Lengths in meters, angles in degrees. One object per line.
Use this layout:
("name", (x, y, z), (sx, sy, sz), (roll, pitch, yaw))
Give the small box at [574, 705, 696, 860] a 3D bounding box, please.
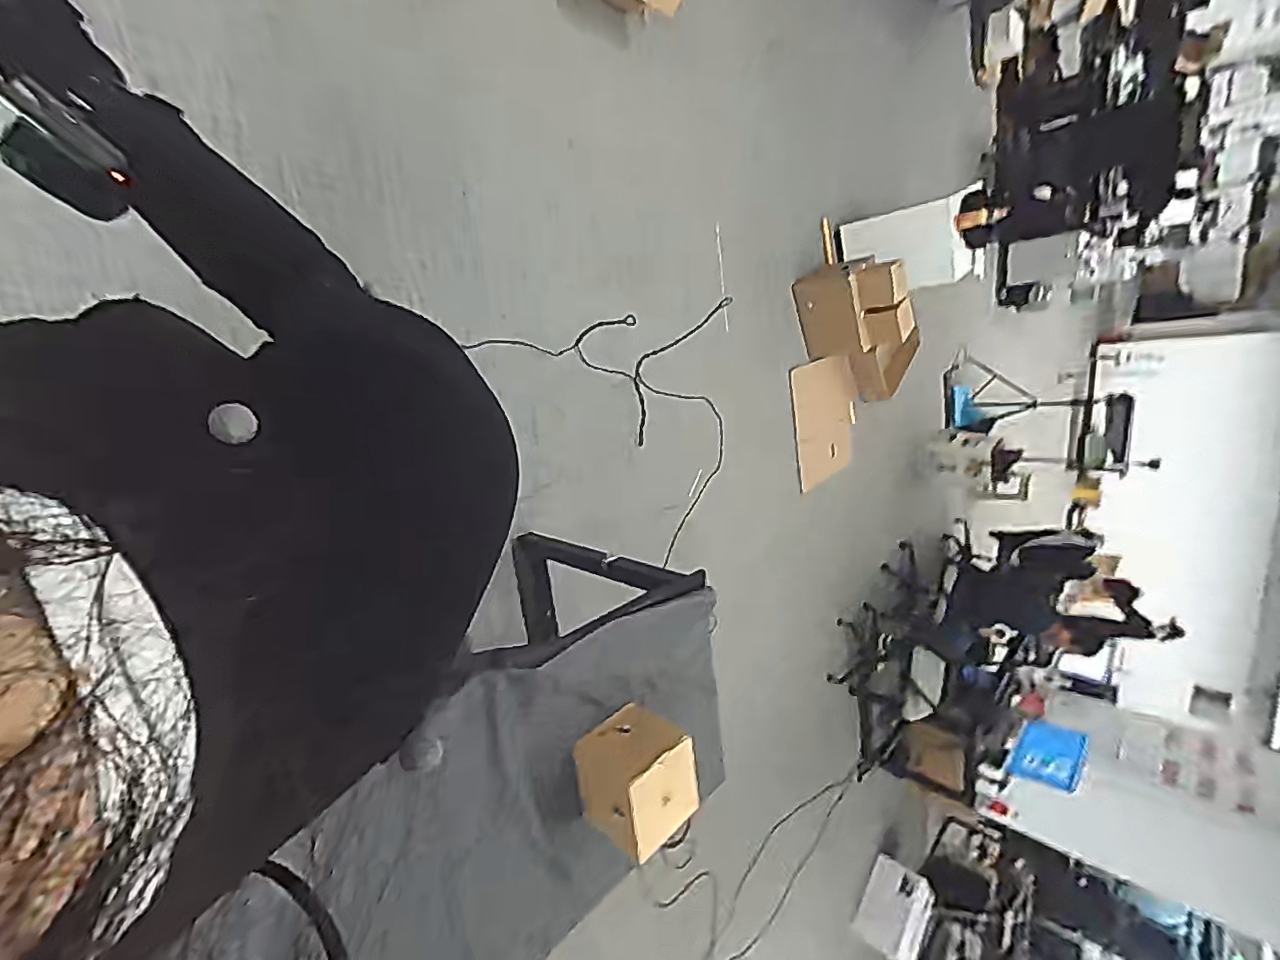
("small box", (-0.011, 0.588, 1.078), (0.168, 0.176, 0.179), (-20, 108, -41))
